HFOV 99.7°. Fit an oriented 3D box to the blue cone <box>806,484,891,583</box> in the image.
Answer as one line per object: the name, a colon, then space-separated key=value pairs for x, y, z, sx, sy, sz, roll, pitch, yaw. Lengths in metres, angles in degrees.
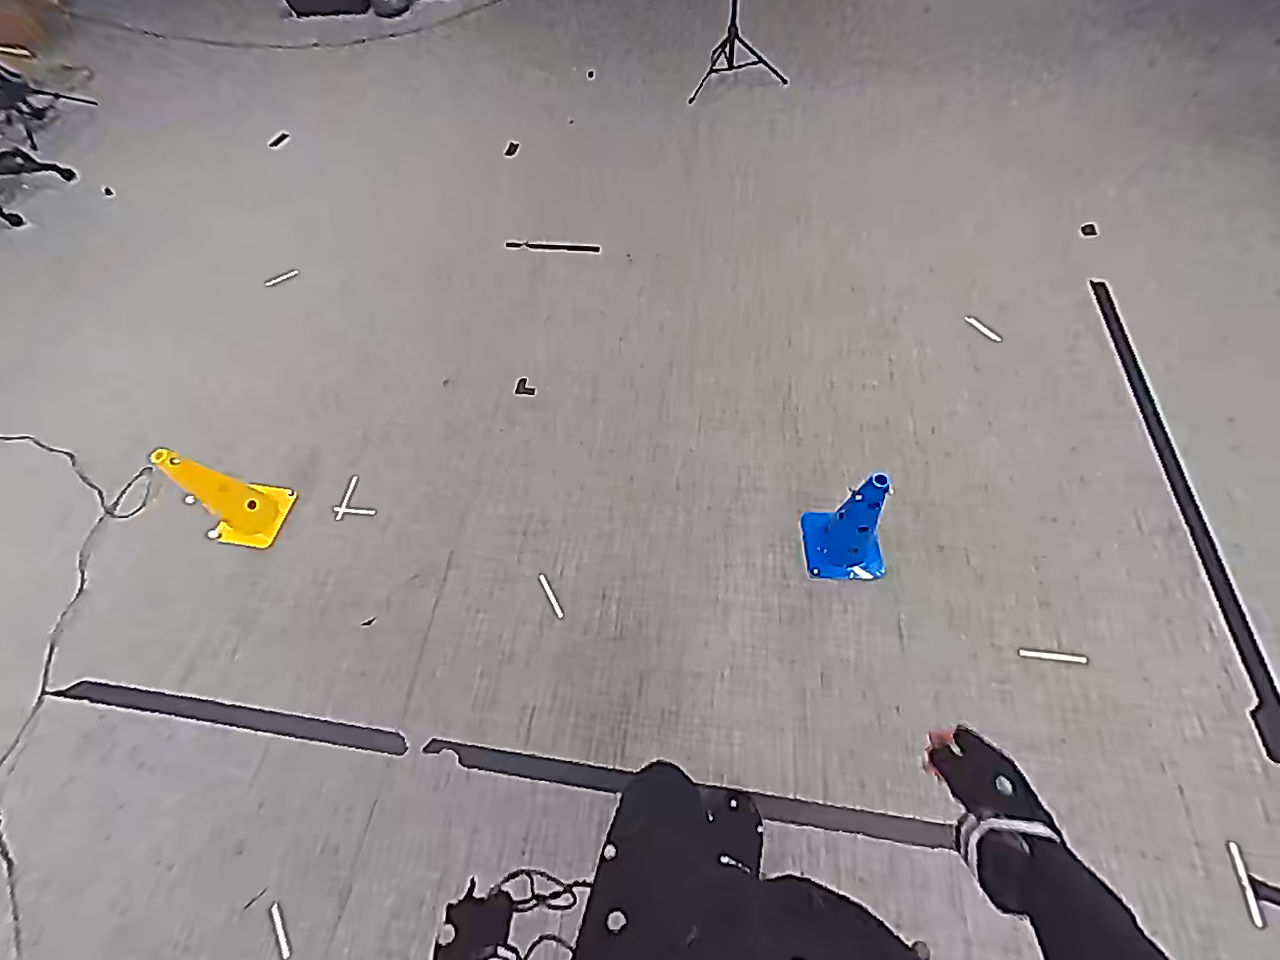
blue cone: x=0.541 y=0.107 z=1.337 sx=0.193 sy=0.380 sz=0.192 roll=0 pitch=60 yaw=5
